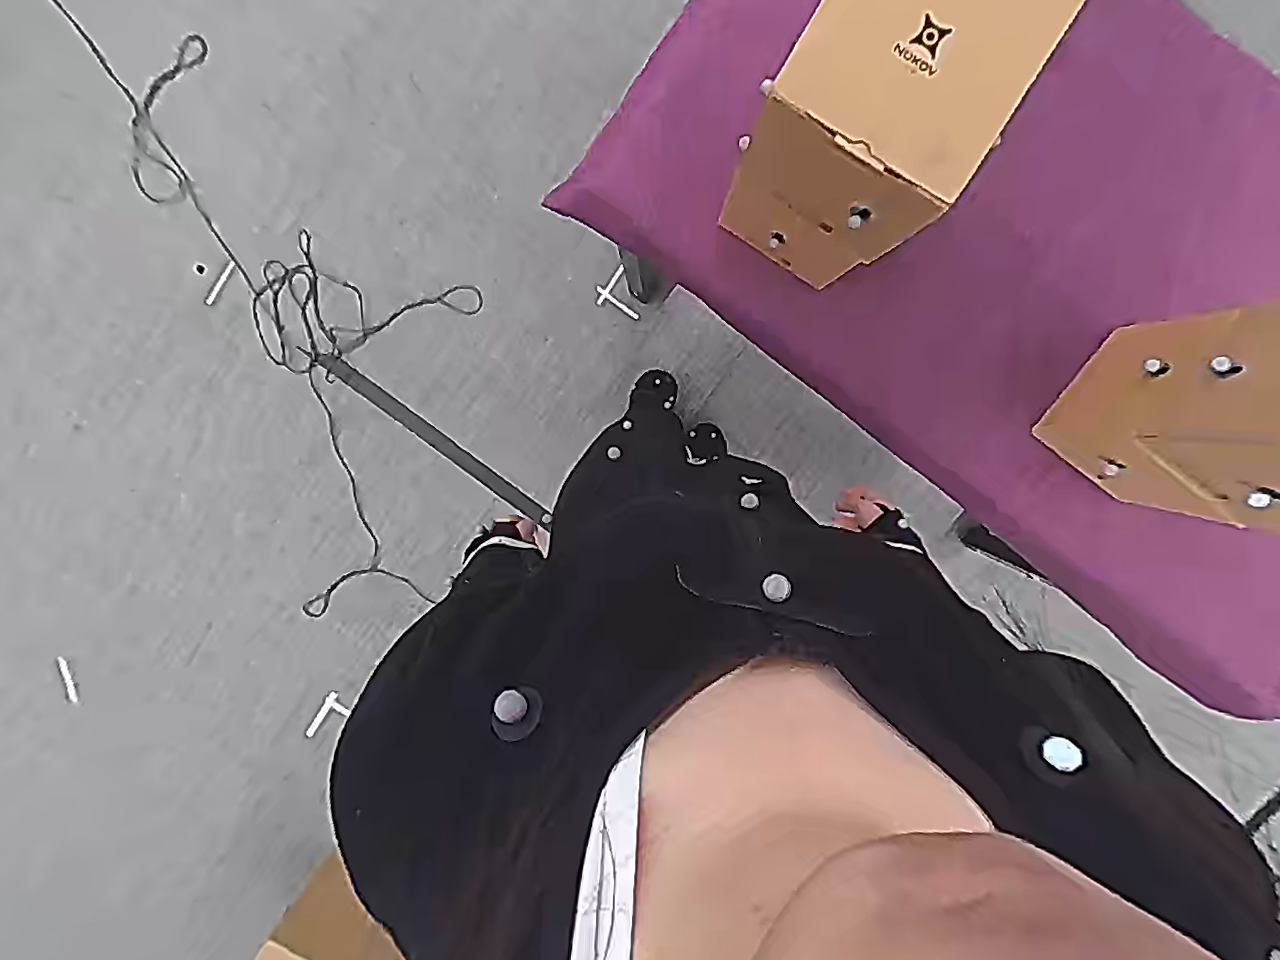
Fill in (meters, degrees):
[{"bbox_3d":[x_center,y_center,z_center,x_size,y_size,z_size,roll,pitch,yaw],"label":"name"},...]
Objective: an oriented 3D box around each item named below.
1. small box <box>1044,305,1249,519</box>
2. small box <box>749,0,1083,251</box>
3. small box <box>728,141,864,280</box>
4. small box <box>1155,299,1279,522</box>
[{"bbox_3d":[0.652,-0.080,0.664,0.168,0.176,0.179,36,97,-3],"label":"small box"},{"bbox_3d":[0.212,-0.334,0.473,0.168,0.176,0.179,30,97,-4],"label":"small box"},{"bbox_3d":[0.218,-0.364,0.633,0.168,0.176,0.179,32,97,-4],"label":"small box"},{"bbox_3d":[0.650,-0.061,0.501,0.168,0.176,0.179,37,97,-3],"label":"small box"}]
